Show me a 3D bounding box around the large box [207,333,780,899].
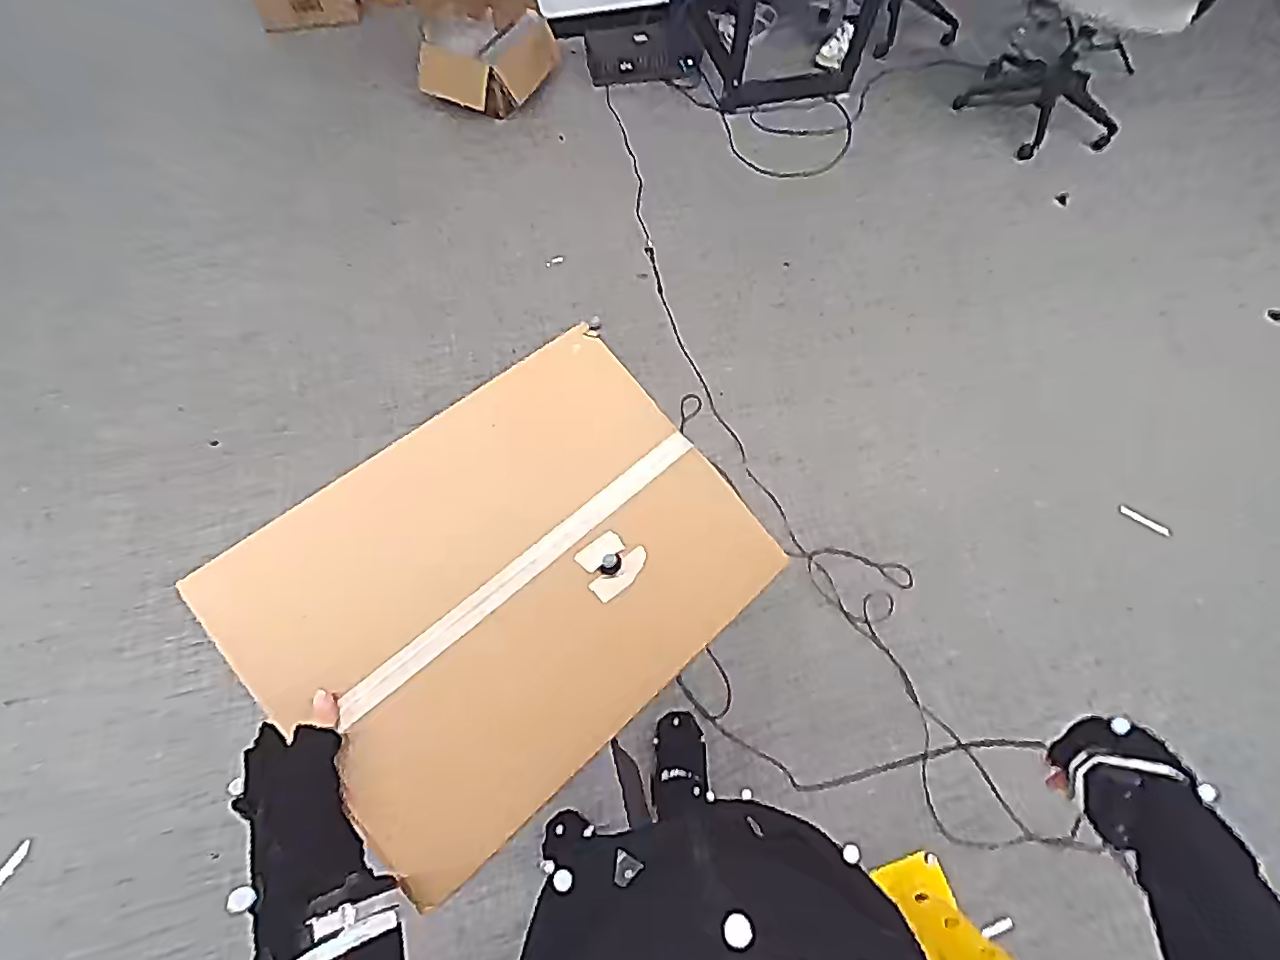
[{"bbox_3d":[-0.131,0.122,0.614,0.408,0.320,0.320,-39,86,-19],"label":"large box"}]
